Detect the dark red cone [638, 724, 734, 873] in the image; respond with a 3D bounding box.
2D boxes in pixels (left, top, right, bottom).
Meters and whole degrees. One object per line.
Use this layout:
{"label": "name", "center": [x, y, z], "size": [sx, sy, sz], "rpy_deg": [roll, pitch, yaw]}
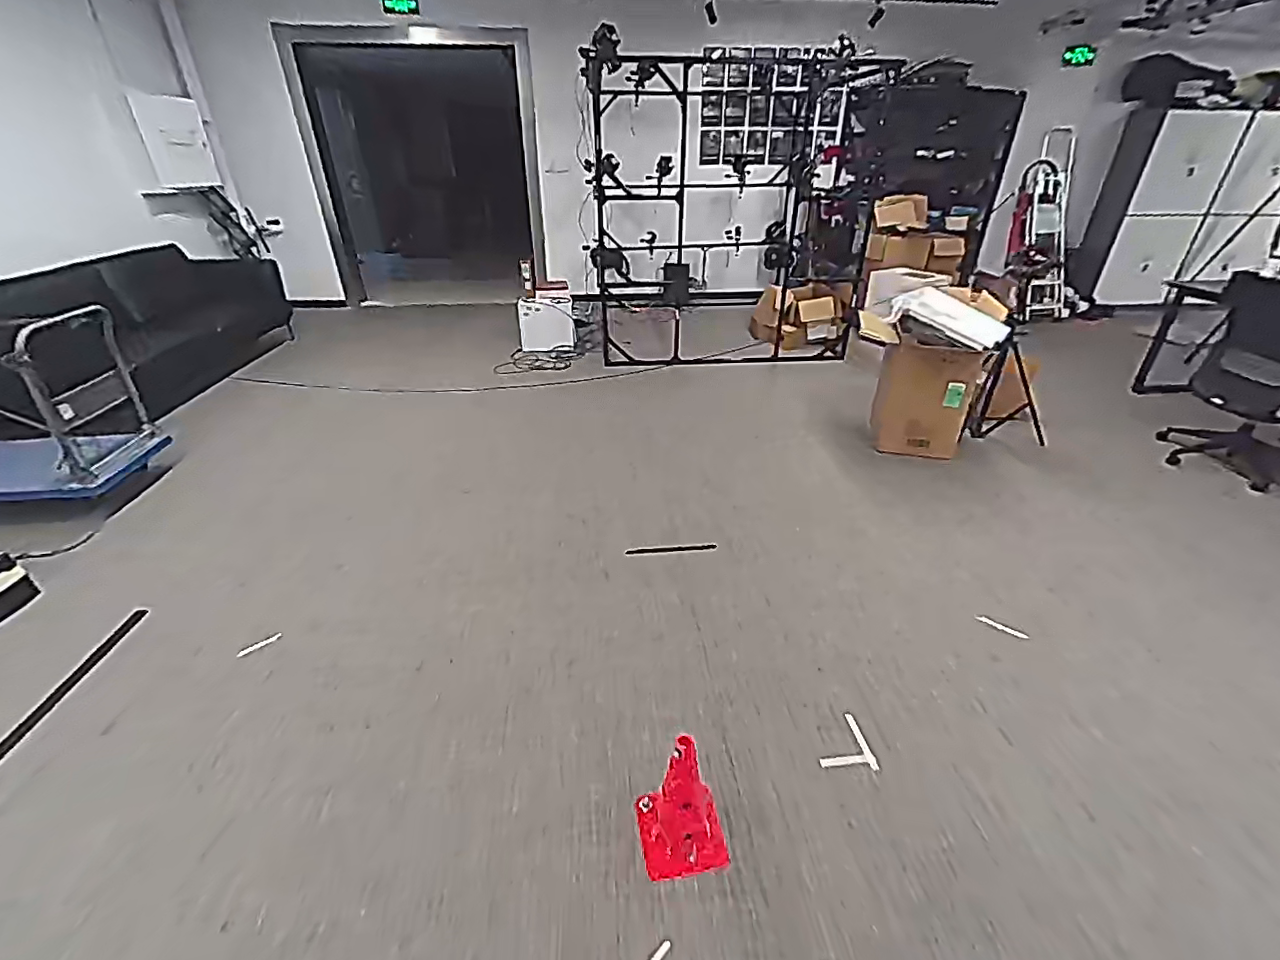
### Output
{"label": "dark red cone", "center": [0.105, 0.686, 1.219], "size": [0.202, 0.394, 0.201], "rpy_deg": [-6, 32, -10]}
